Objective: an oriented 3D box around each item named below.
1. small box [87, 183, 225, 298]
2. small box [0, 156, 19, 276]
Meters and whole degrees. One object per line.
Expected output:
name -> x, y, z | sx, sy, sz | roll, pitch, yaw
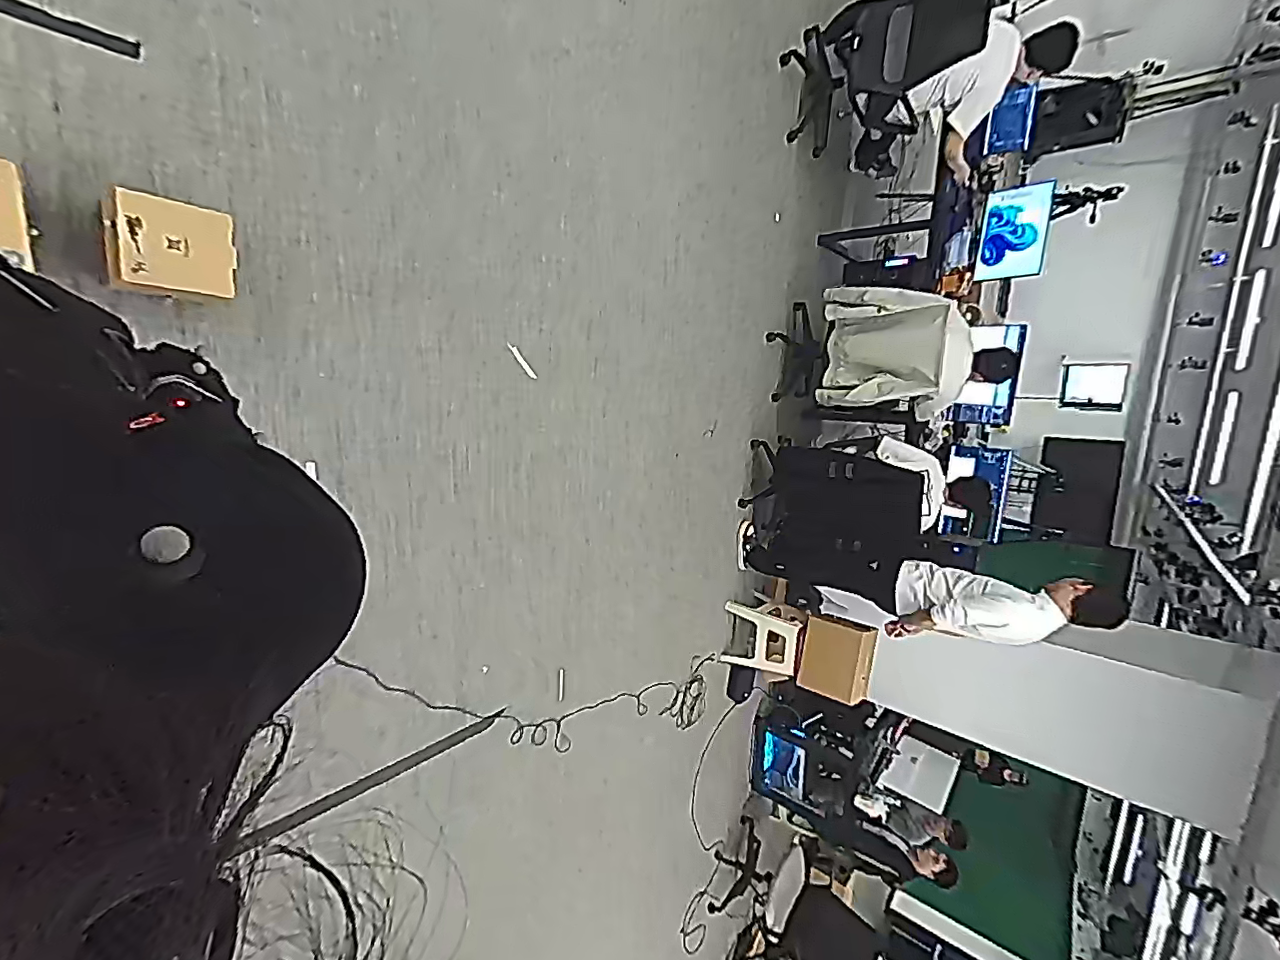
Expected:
small box -> -0.958, -0.462, 1.074 | 0.179, 0.176, 0.168 | -5, 102, -52
small box -> -1.131, -0.434, 0.859 | 0.168, 0.176, 0.179 | -10, 107, -50
